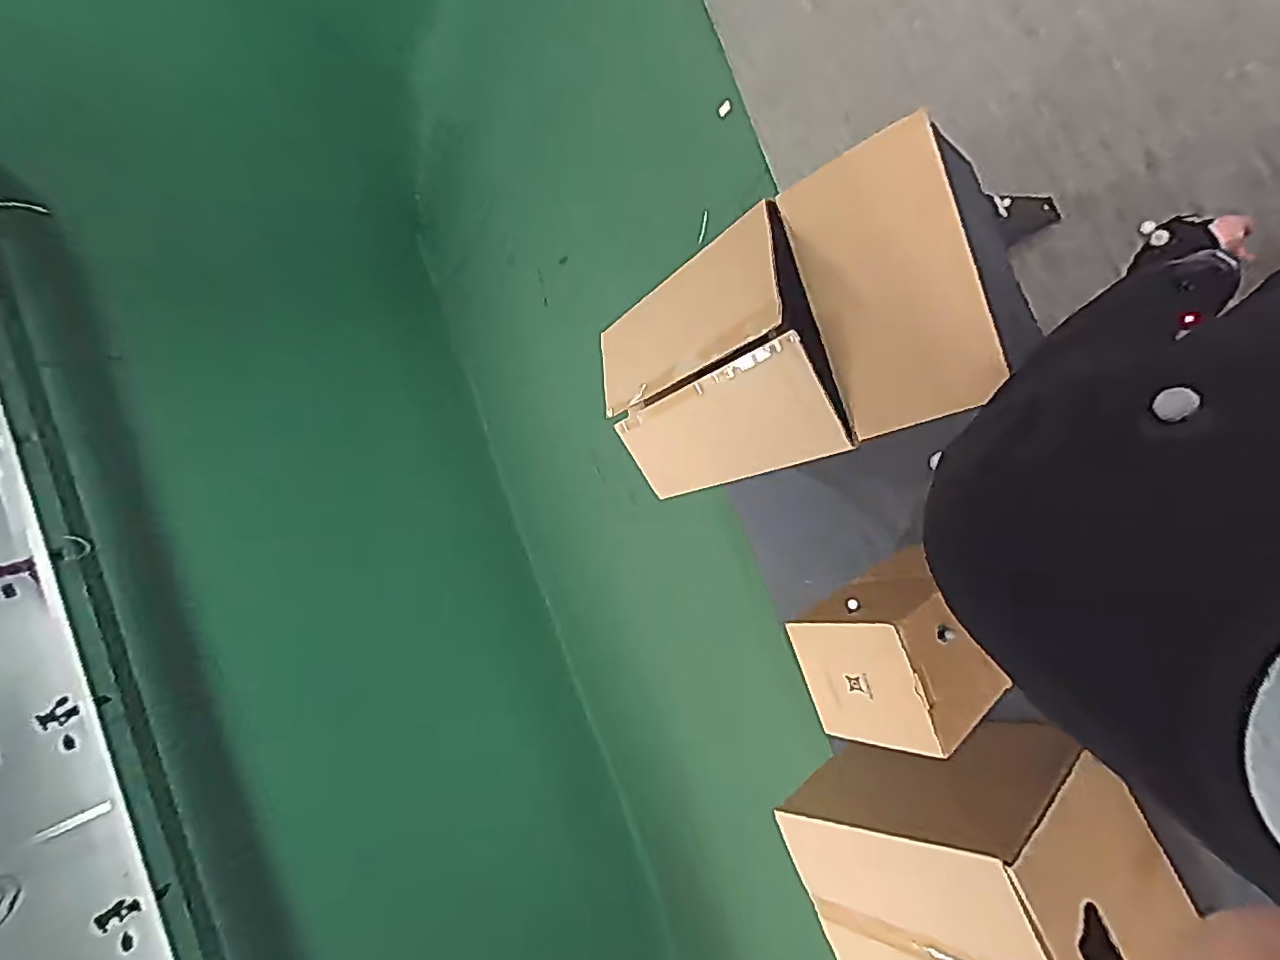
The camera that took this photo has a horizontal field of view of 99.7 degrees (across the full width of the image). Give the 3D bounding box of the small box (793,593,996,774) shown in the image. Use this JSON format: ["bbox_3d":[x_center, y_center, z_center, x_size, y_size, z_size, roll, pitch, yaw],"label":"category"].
[{"bbox_3d":[0.354,0.263,0.745,0.179,0.176,0.168,-25,85,58],"label":"small box"}]
